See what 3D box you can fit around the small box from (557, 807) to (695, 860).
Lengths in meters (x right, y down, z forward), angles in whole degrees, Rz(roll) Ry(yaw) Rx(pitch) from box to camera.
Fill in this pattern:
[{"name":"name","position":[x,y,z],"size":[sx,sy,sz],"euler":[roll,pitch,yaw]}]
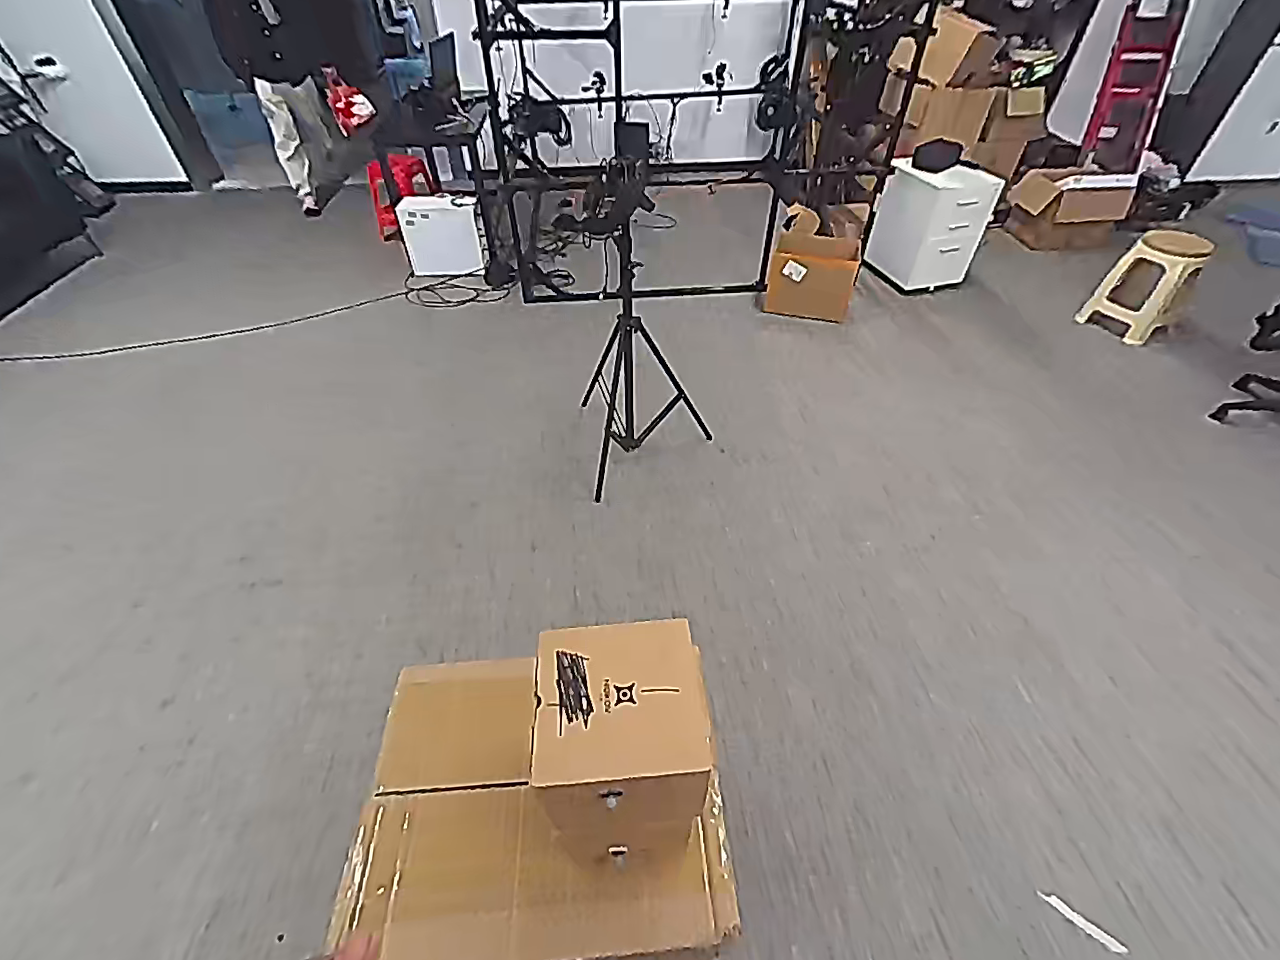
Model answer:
[{"name":"small box","position":[-0.021,0.398,0.747],"size":[0.168,0.176,0.179],"euler":[-5,46,-2]}]

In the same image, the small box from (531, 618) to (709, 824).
[{"name":"small box","position":[-0.021,0.282,0.629],"size":[0.179,0.176,0.168],"euler":[-5,45,-2]}]
